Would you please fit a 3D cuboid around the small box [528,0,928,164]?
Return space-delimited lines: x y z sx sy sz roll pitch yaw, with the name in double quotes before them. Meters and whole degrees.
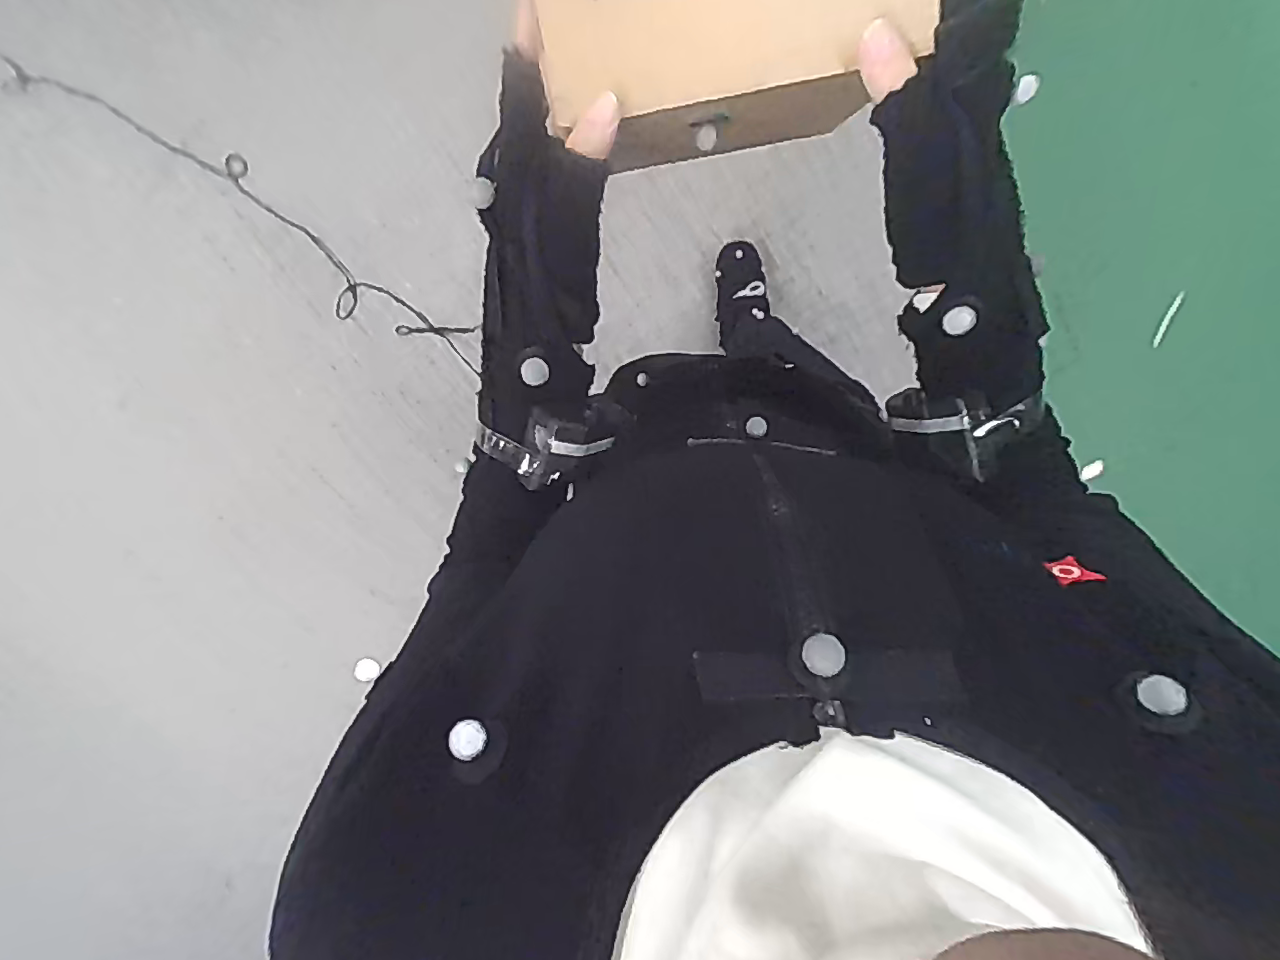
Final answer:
"small box" 0.032 -0.290 0.294 0.179 0.176 0.168 -9 111 5
